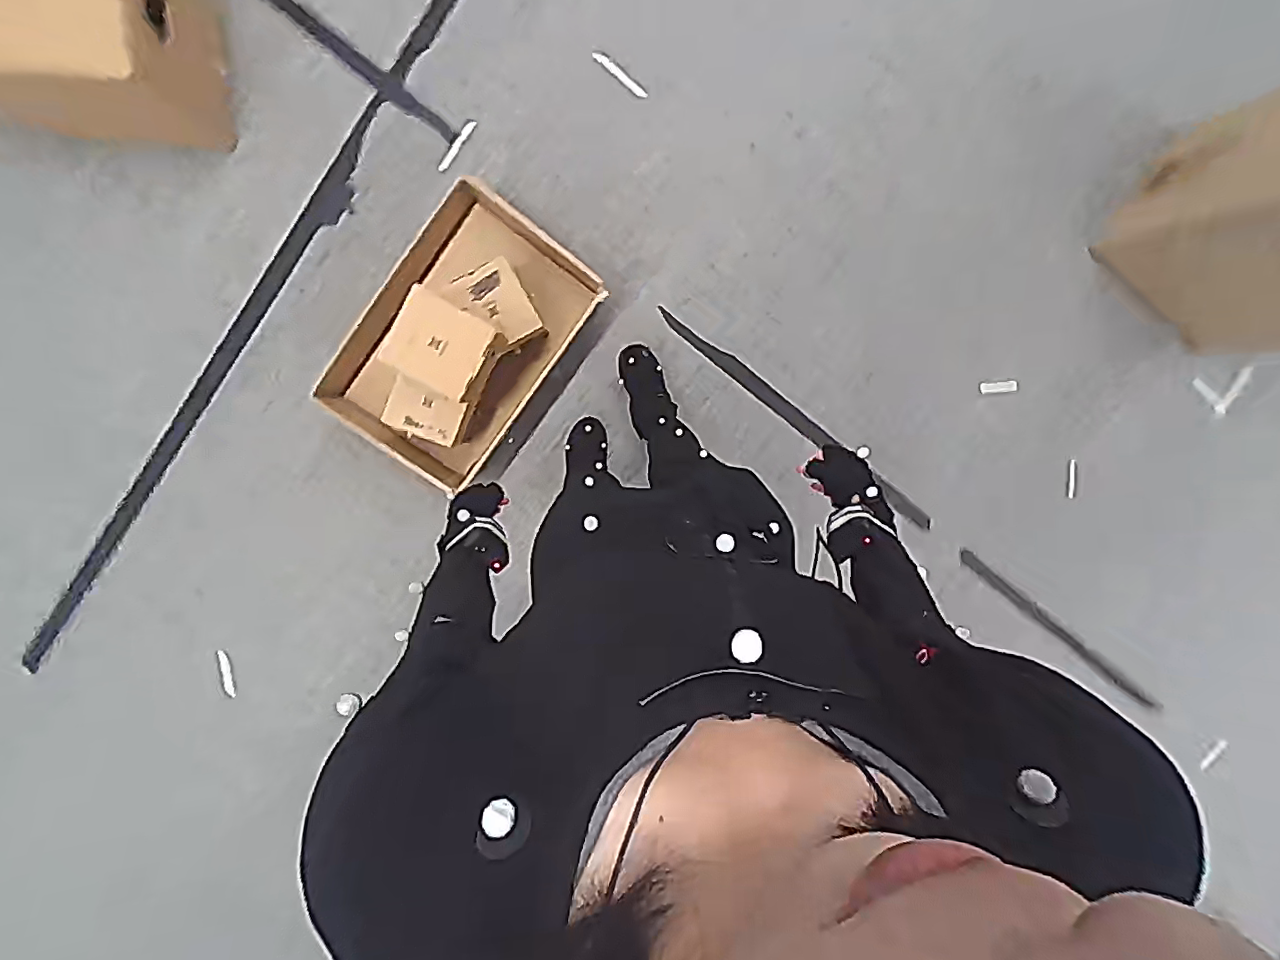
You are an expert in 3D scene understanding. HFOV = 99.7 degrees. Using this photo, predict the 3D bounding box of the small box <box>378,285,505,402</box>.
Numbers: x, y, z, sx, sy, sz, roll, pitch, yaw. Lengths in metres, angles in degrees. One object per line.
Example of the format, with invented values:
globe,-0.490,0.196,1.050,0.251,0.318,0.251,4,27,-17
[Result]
small box,-0.399,-0.275,1.122,0.179,0.176,0.168,28,94,-9
